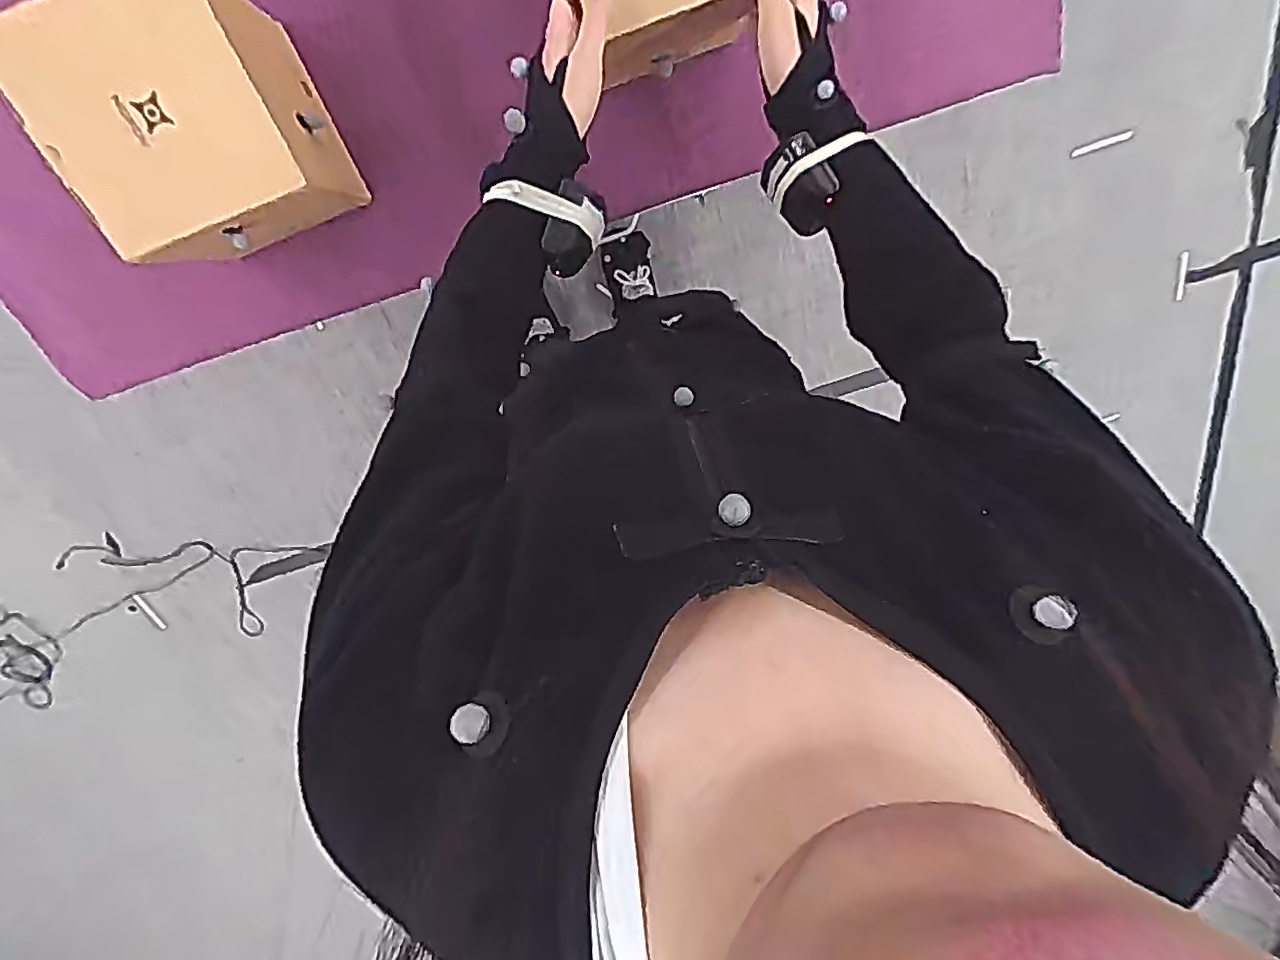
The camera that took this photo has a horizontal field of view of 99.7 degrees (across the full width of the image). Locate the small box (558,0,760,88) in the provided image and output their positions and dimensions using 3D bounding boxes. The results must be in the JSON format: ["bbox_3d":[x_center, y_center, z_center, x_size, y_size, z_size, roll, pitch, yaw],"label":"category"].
[{"bbox_3d":[0.001,-0.481,0.467,0.168,0.176,0.179,-18,115,2],"label":"small box"}]

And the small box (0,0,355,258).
[{"bbox_3d":[-0.392,-0.319,0.492,0.179,0.176,0.168,-21,115,3],"label":"small box"}]
